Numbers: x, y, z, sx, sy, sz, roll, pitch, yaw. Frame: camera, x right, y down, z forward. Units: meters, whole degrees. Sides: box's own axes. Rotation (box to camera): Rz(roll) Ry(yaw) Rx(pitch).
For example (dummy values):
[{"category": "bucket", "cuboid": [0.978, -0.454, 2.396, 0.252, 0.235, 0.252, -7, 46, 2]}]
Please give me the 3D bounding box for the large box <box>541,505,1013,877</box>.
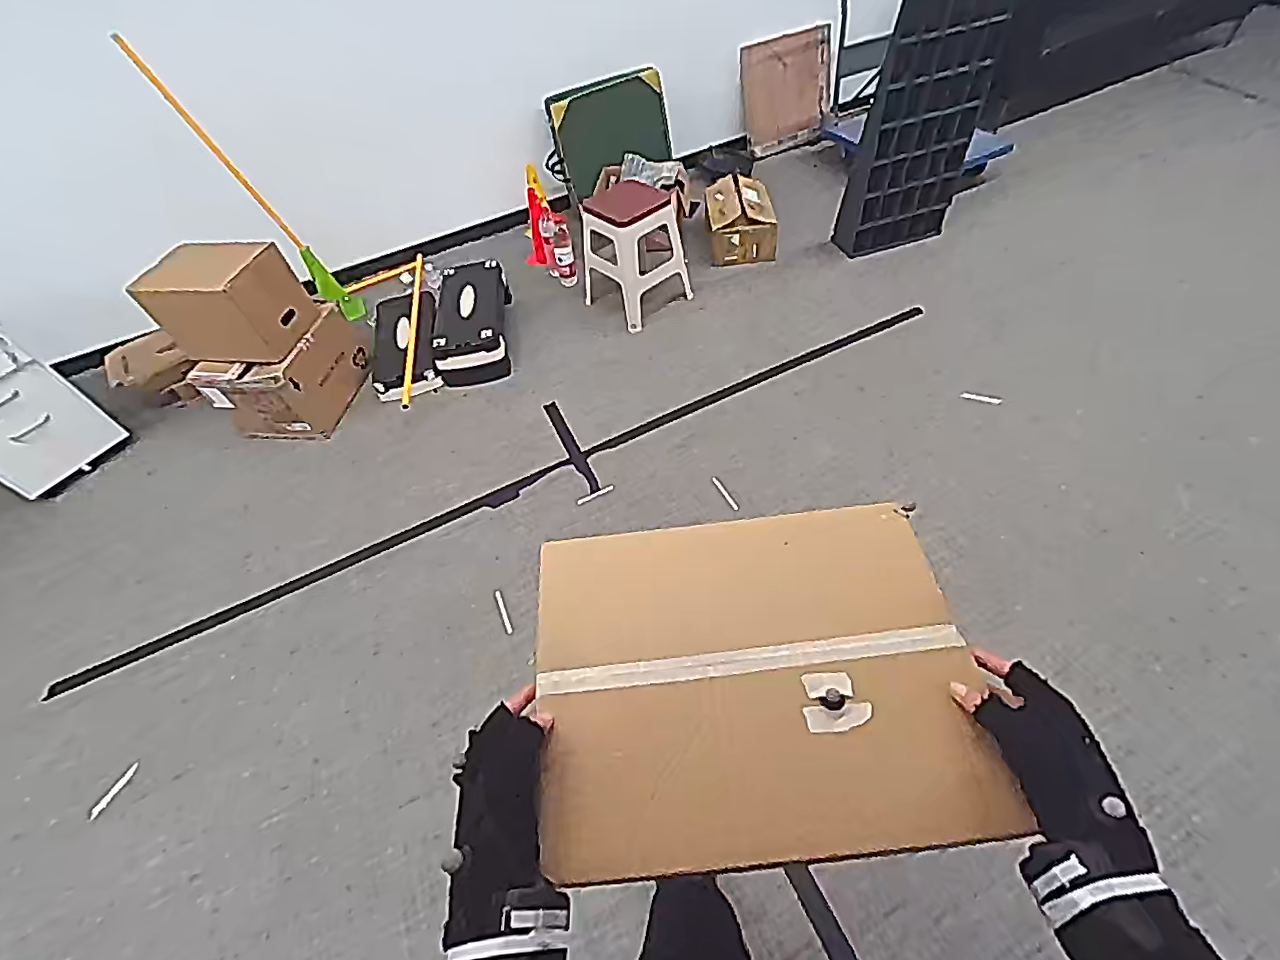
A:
[{"category": "large box", "cuboid": [0.111, 0.264, 0.653, 0.408, 0.320, 0.320, -7, 53, 1]}]
